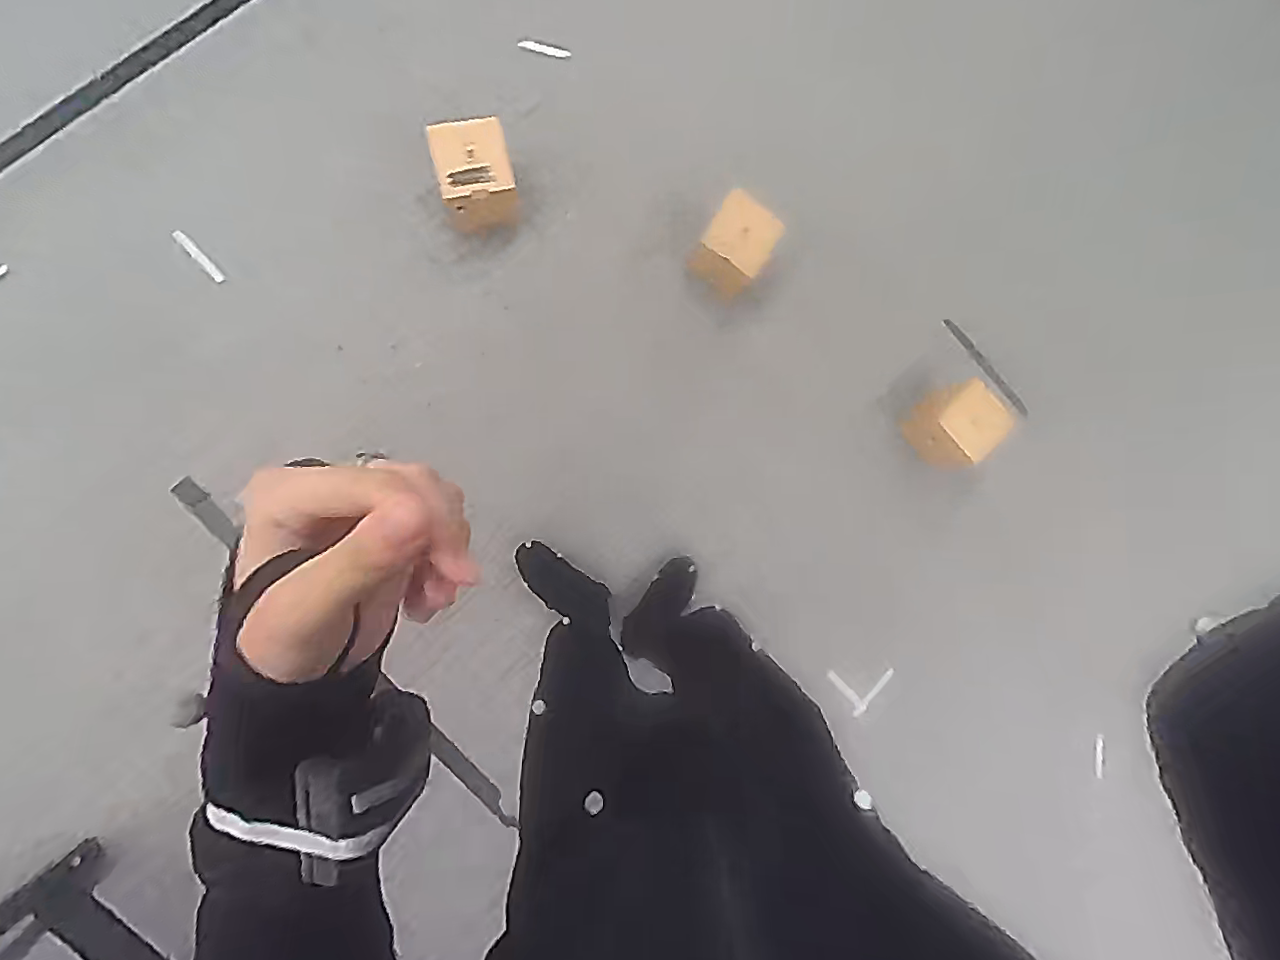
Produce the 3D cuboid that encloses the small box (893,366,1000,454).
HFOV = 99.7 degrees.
[{"bbox_3d":[0.851,-0.188,1.527,0.168,0.176,0.179,46,82,-6],"label":"small box"}]
